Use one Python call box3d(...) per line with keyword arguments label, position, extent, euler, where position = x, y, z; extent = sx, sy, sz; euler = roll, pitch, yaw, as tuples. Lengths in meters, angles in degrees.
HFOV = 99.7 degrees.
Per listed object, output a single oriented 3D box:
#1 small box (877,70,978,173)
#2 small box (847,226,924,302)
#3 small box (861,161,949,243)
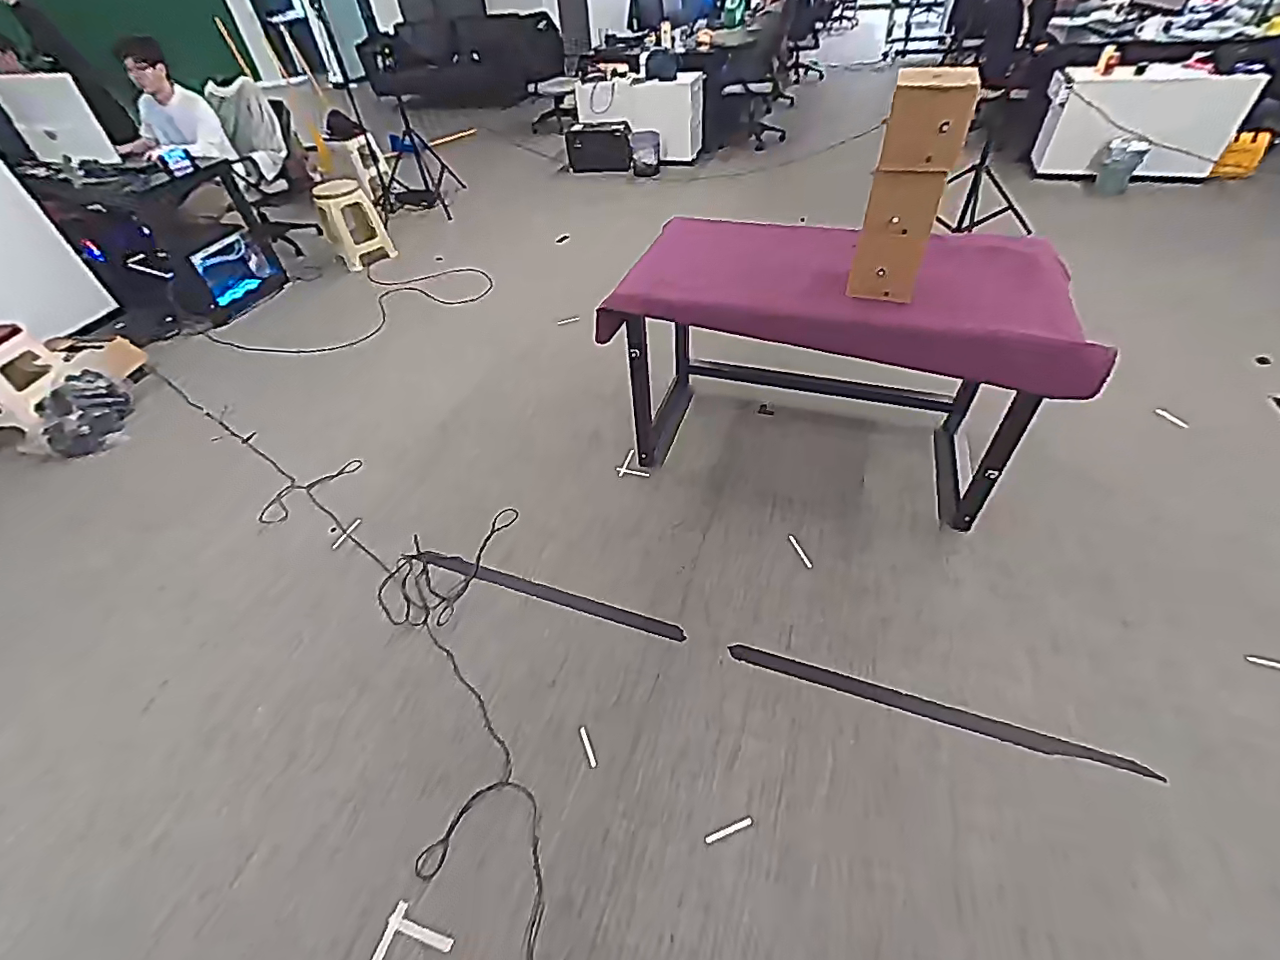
box3d(label="small box", position=(0.656, -0.825, 1.247), extent=(0.168, 0.176, 0.179), euler=(12, 48, 15))
box3d(label="small box", position=(0.679, -0.610, 1.493), extent=(0.168, 0.176, 0.179), euler=(15, 48, 18))
box3d(label="small box", position=(0.673, -0.727, 1.377), extent=(0.168, 0.176, 0.179), euler=(14, 49, 18))
